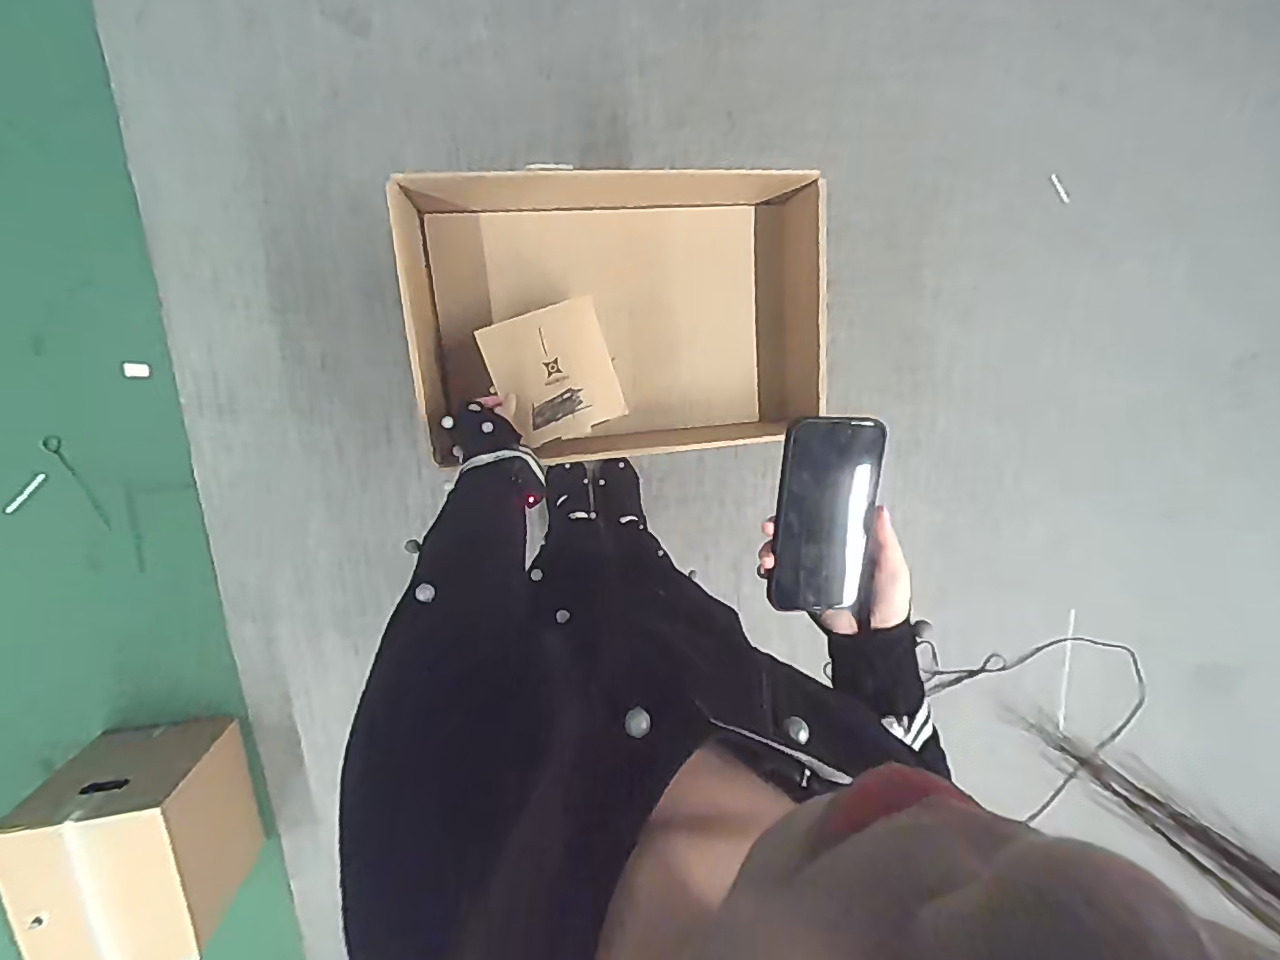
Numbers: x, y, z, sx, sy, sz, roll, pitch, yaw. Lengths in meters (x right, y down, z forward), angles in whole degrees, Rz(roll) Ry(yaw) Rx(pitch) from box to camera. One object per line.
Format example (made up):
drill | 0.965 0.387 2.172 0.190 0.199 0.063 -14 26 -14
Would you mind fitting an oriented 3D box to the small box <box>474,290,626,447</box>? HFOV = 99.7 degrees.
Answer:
small box | -0.132 -0.167 0.823 0.168 0.176 0.179 -21 102 -5
